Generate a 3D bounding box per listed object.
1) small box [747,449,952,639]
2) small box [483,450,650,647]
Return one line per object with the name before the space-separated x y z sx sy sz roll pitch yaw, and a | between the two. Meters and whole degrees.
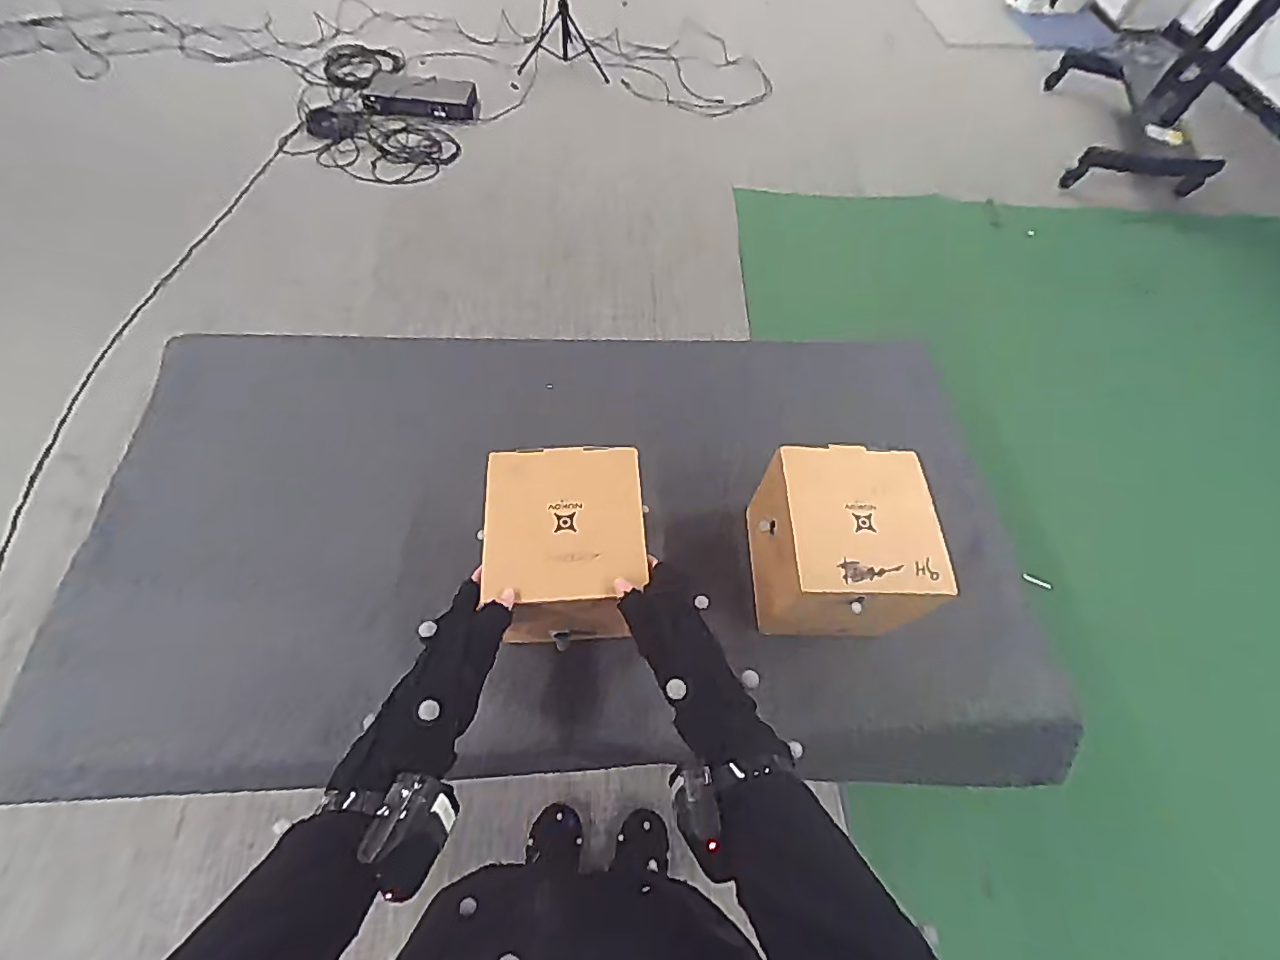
small box | 0.233 0.082 0.659 0.168 0.176 0.179 1 59 -3
small box | -0.082 0.084 0.636 0.168 0.176 0.179 -3 61 -5
